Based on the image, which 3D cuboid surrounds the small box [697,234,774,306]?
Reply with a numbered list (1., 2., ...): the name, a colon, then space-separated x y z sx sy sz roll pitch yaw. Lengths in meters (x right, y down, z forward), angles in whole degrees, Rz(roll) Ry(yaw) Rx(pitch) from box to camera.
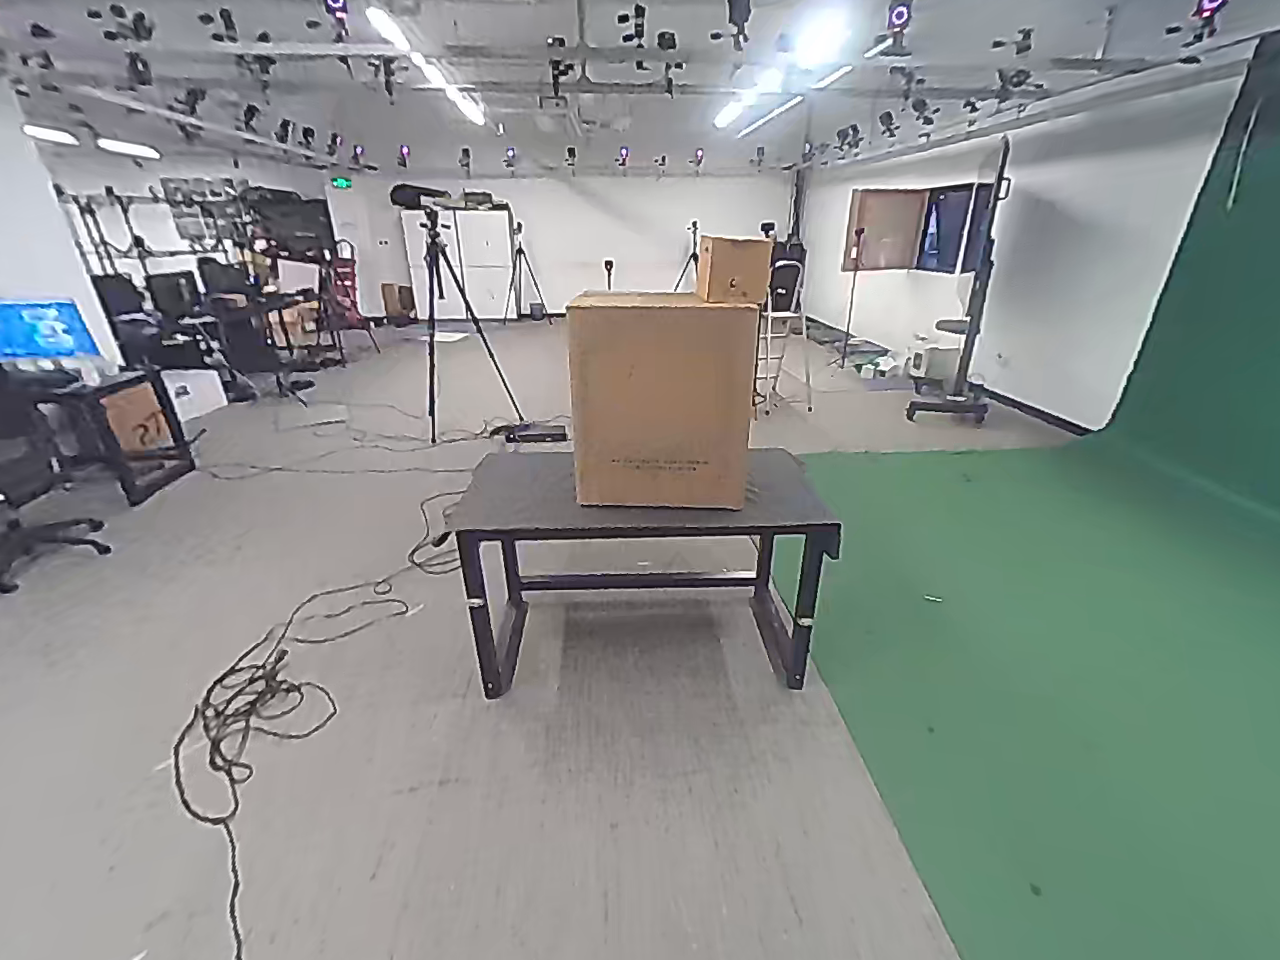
1. small box: 0.262 -0.596 1.531 0.168 0.176 0.179 0 27 -6
